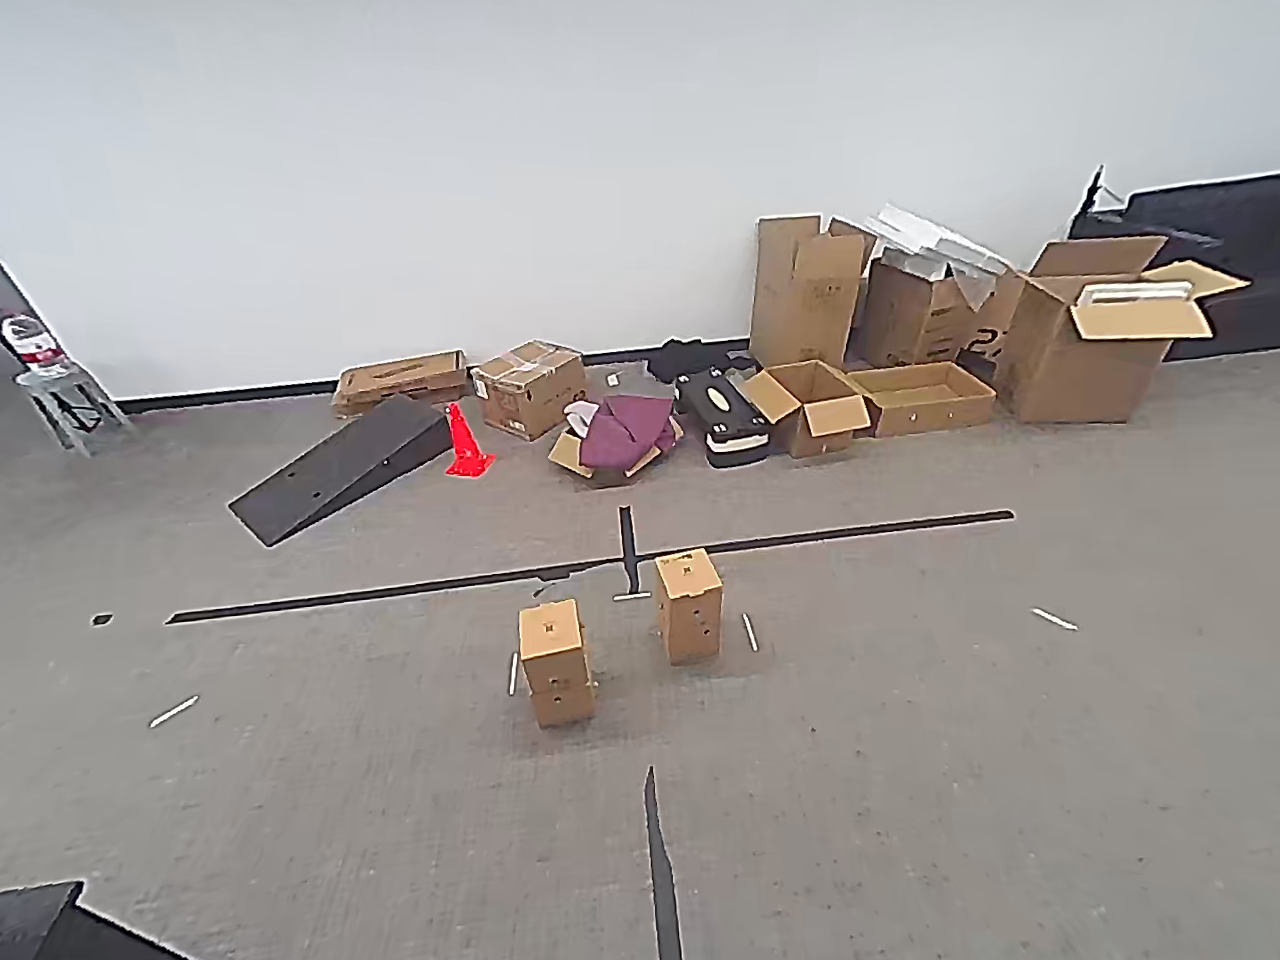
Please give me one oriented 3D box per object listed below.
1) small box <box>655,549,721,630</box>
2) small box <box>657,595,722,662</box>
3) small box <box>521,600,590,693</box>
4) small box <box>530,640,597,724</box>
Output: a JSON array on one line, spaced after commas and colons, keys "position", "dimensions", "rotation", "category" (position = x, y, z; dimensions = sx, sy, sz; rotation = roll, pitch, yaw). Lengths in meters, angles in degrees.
[{"position": [0.149, 0.349, 1.688], "dimensions": [0.168, 0.176, 0.179], "rotation": [-11, 37, -9], "category": "small box"}, {"position": [0.160, 0.475, 1.792], "dimensions": [0.179, 0.176, 0.168], "rotation": [-10, 36, -8], "category": "small box"}, {"position": [-0.243, 0.477, 1.552], "dimensions": [0.168, 0.176, 0.179], "rotation": [-11, 38, -7], "category": "small box"}, {"position": [-0.231, 0.615, 1.639], "dimensions": [0.179, 0.176, 0.168], "rotation": [-8, 37, -6], "category": "small box"}]
